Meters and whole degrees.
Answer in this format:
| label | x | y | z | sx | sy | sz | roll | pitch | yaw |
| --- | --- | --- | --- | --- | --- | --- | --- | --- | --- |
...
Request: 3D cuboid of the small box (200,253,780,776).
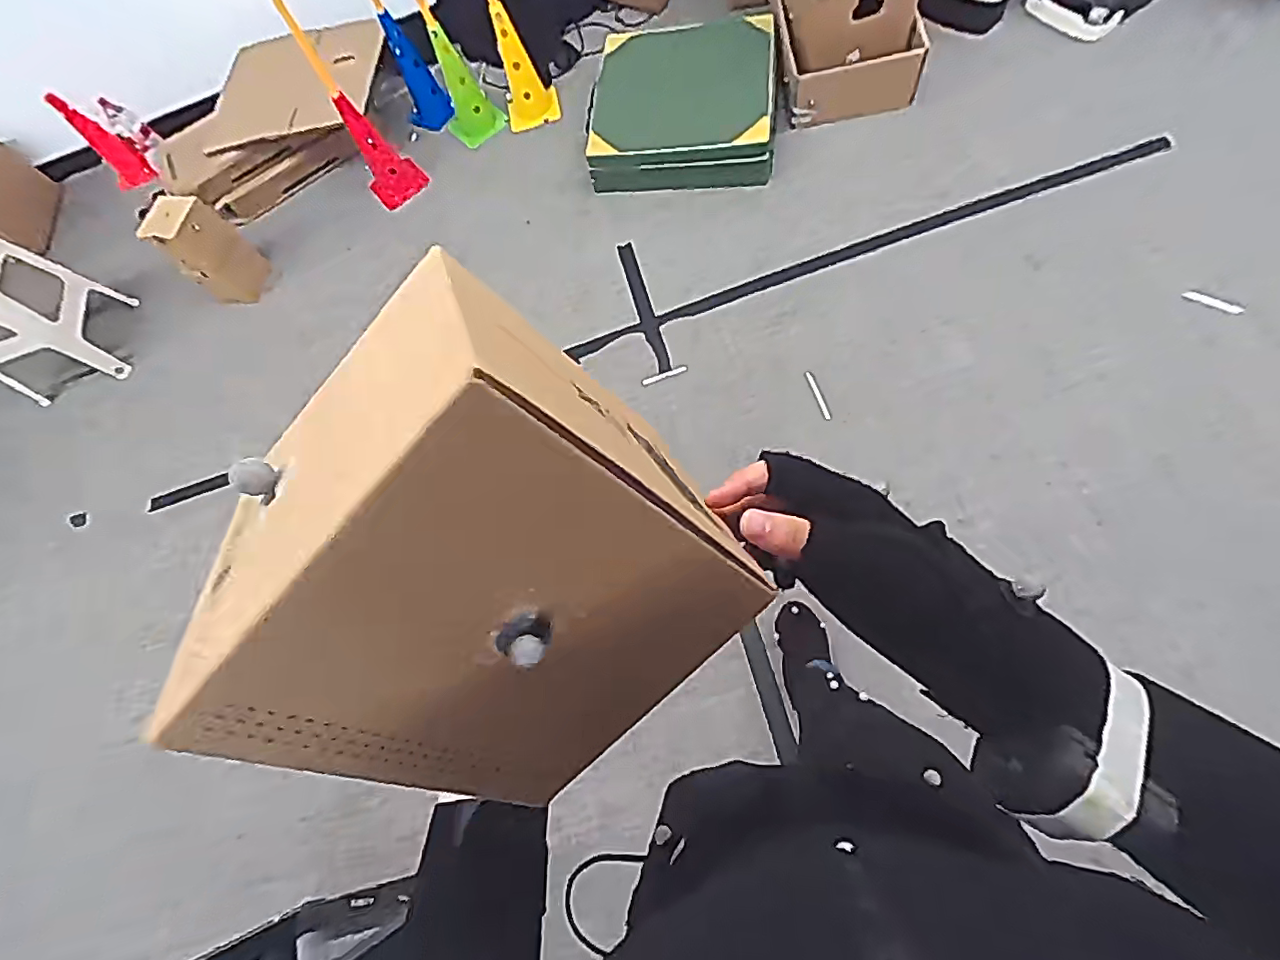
| label | x | y | z | sx | sy | sz | roll | pitch | yaw |
| --- | --- | --- | --- | --- | --- | --- | --- | --- | --- |
| small box | -0.070 | 0.023 | 0.281 | 0.176 | 0.179 | 0.168 | -47 | 39 | 10 |
